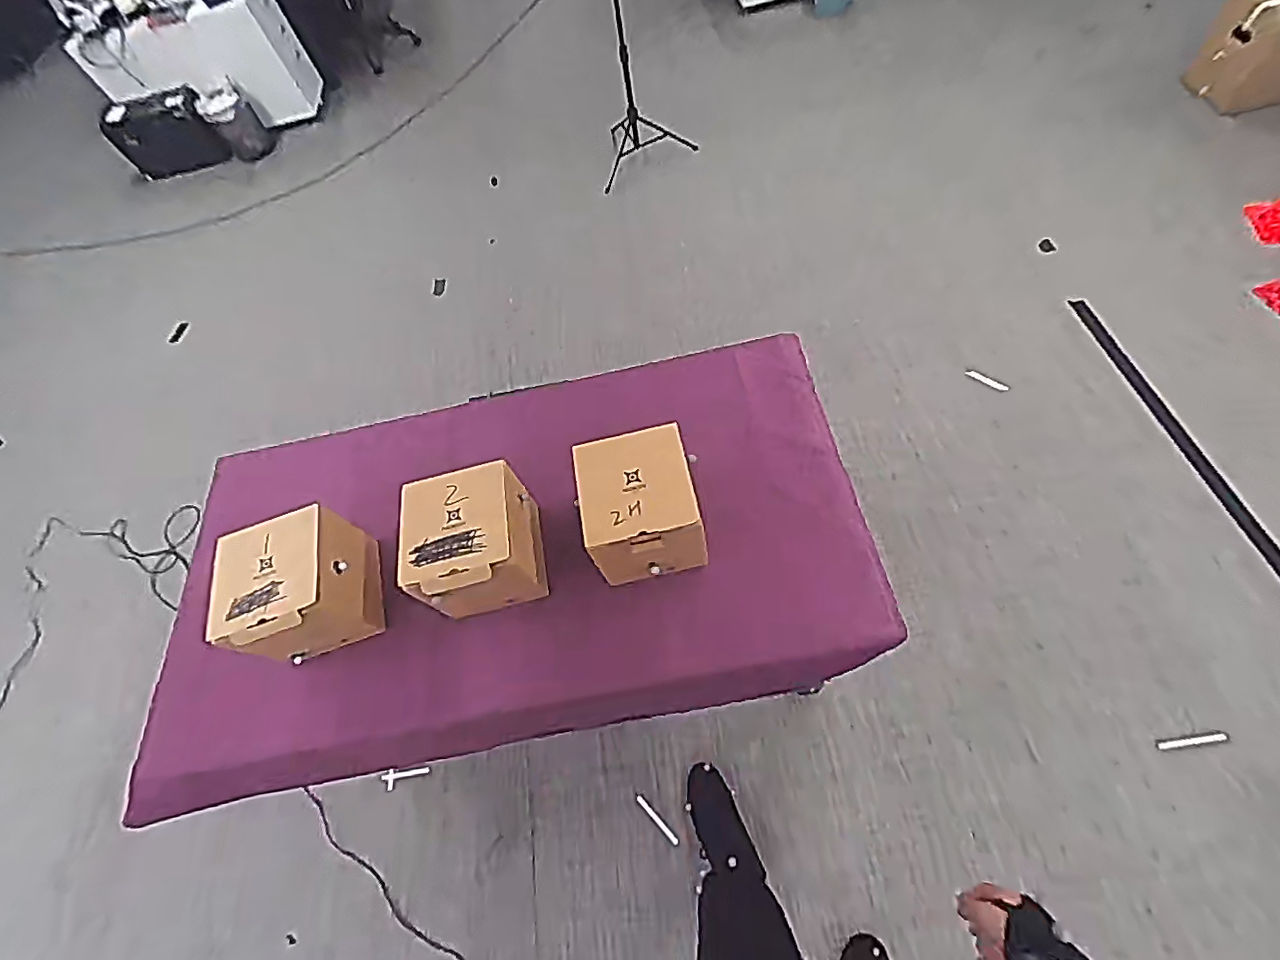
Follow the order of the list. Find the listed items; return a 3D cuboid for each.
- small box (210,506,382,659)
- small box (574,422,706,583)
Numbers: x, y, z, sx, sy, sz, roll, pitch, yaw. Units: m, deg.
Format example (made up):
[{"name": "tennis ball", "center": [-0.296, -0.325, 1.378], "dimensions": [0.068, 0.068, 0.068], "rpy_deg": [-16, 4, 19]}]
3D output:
[{"name": "small box", "center": [-0.538, 0.173, 0.868], "dimensions": [0.168, 0.176, 0.179], "rpy_deg": [-20, 60, -2]}, {"name": "small box", "center": [0.003, 0.040, 0.844], "dimensions": [0.168, 0.176, 0.179], "rpy_deg": [-13, 61, 3]}]
